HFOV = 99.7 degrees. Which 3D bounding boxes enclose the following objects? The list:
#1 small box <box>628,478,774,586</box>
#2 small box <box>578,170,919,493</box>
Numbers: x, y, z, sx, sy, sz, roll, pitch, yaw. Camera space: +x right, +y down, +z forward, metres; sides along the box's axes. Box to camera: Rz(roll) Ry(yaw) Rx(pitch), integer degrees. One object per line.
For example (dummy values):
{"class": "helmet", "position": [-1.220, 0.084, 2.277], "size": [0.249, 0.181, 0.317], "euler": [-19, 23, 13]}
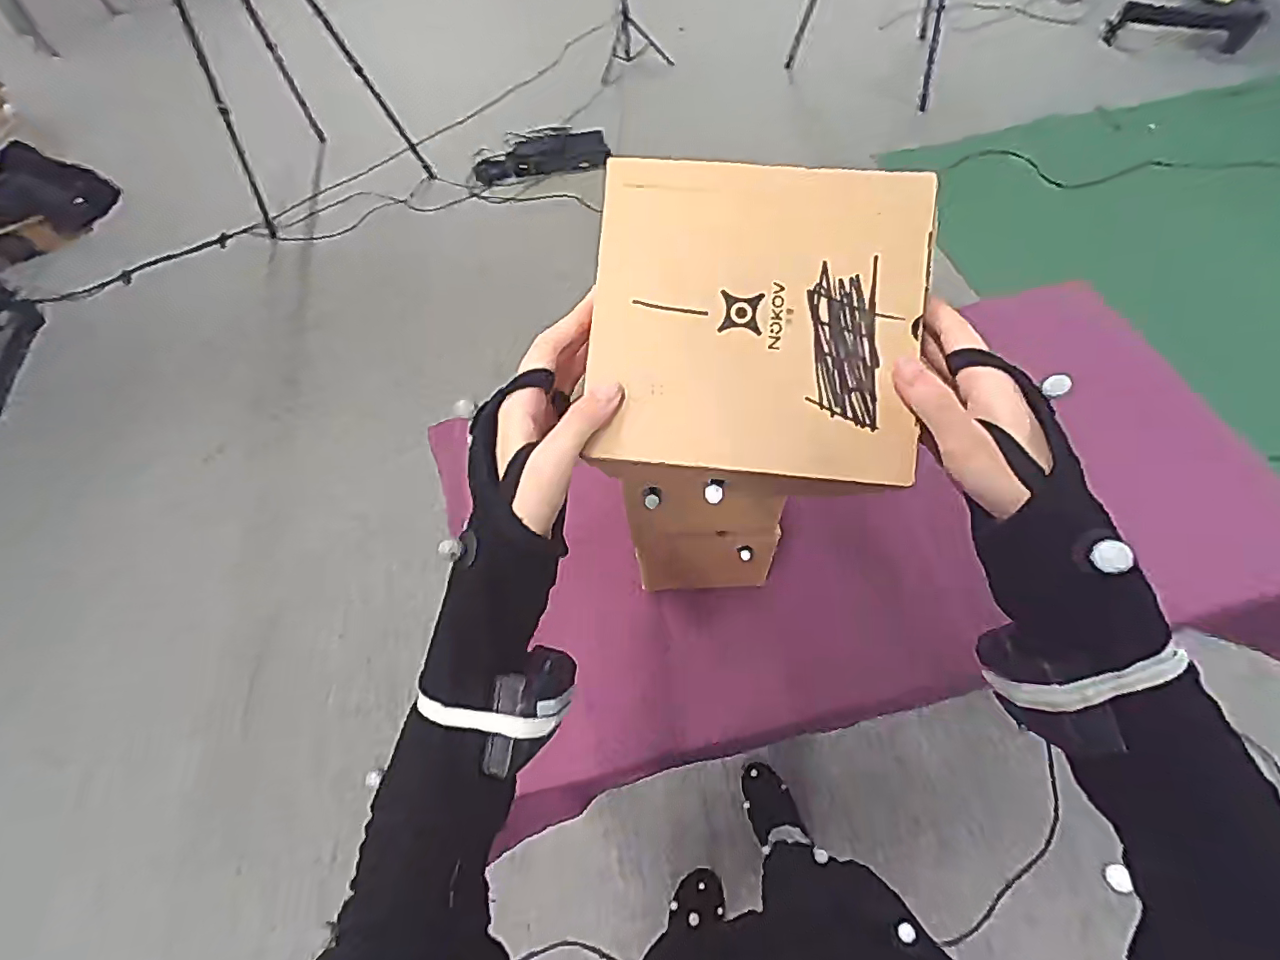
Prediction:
{"class": "small box", "position": [0.077, 0.042, 0.755], "size": [0.179, 0.176, 0.168], "euler": [-4, 58, 2]}
{"class": "small box", "position": [0.064, -0.081, 0.377], "size": [0.179, 0.176, 0.168], "euler": [5, 86, 4]}
